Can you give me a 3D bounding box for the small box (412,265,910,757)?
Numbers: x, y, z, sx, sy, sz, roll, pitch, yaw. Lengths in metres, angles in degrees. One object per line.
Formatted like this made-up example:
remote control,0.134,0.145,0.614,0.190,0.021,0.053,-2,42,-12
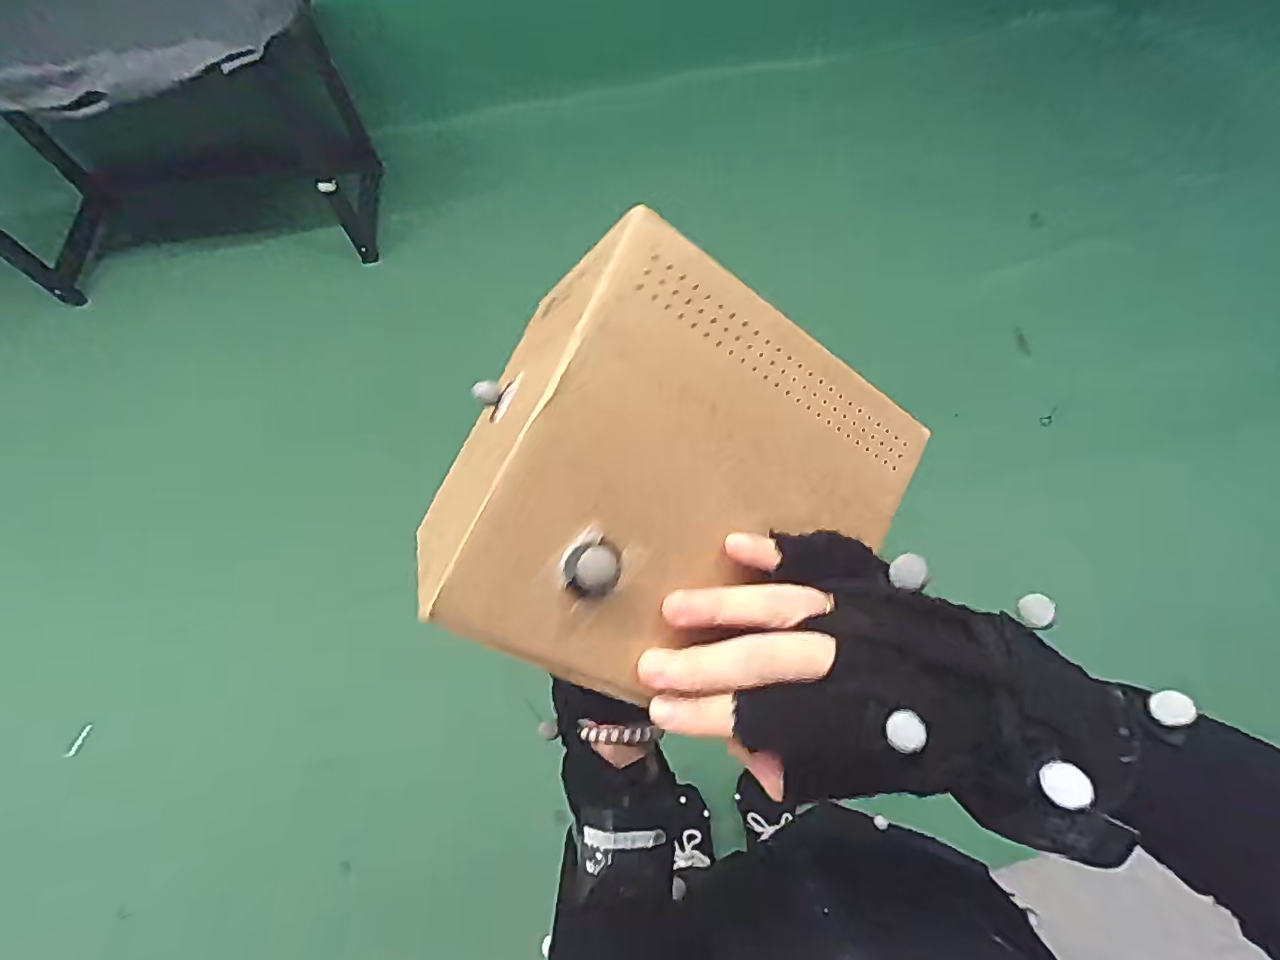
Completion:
small box,0.000,0.007,0.291,0.179,0.168,0.176,28,86,-23
